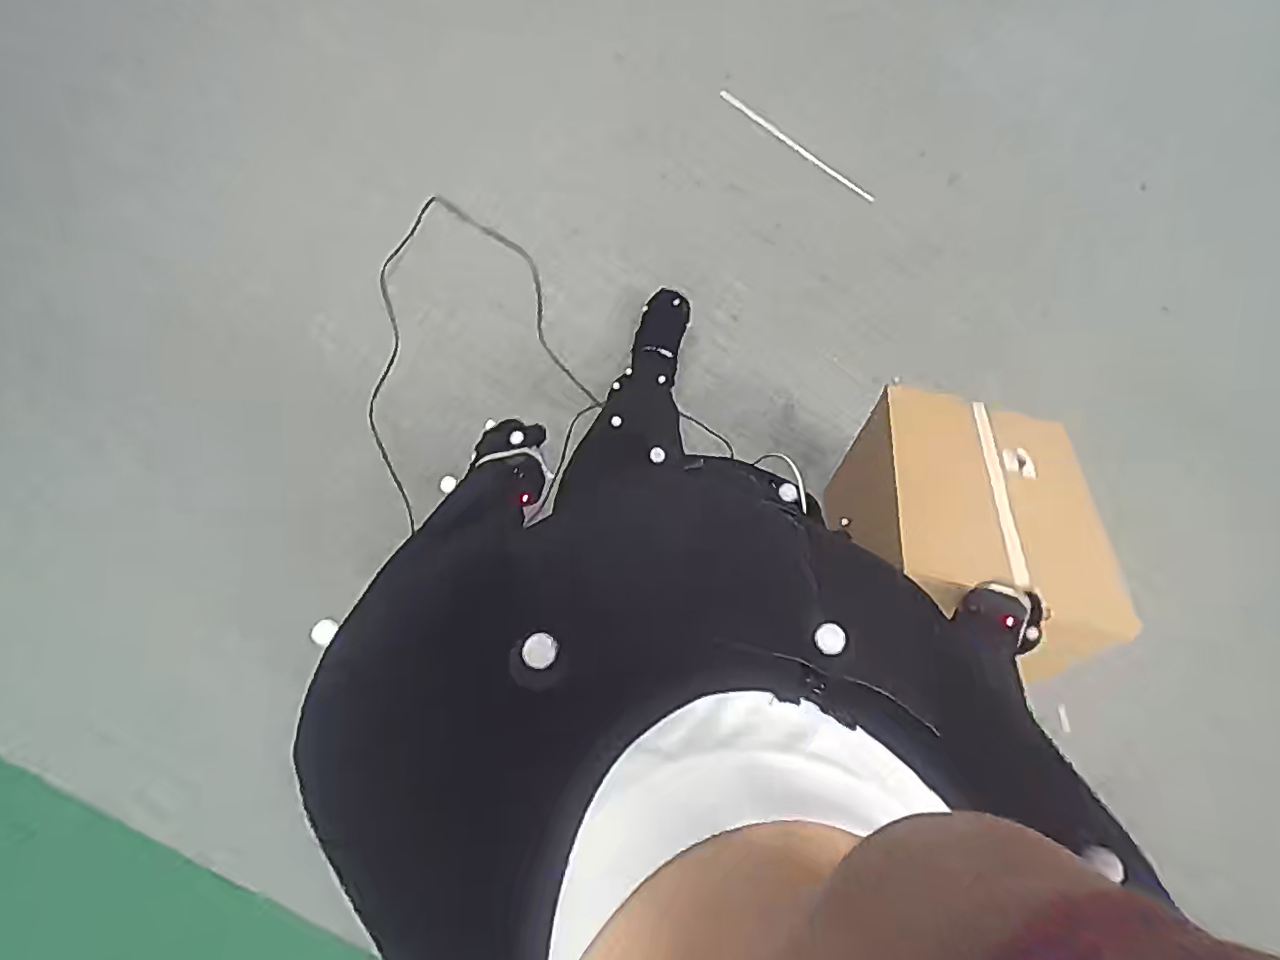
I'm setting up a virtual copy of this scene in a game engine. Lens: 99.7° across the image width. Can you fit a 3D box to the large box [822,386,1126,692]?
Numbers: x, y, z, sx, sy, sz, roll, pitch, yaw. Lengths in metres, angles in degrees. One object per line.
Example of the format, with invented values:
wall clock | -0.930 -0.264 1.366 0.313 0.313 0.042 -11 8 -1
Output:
large box | 0.528 0.102 0.967 0.320 0.320 0.408 15 50 3
